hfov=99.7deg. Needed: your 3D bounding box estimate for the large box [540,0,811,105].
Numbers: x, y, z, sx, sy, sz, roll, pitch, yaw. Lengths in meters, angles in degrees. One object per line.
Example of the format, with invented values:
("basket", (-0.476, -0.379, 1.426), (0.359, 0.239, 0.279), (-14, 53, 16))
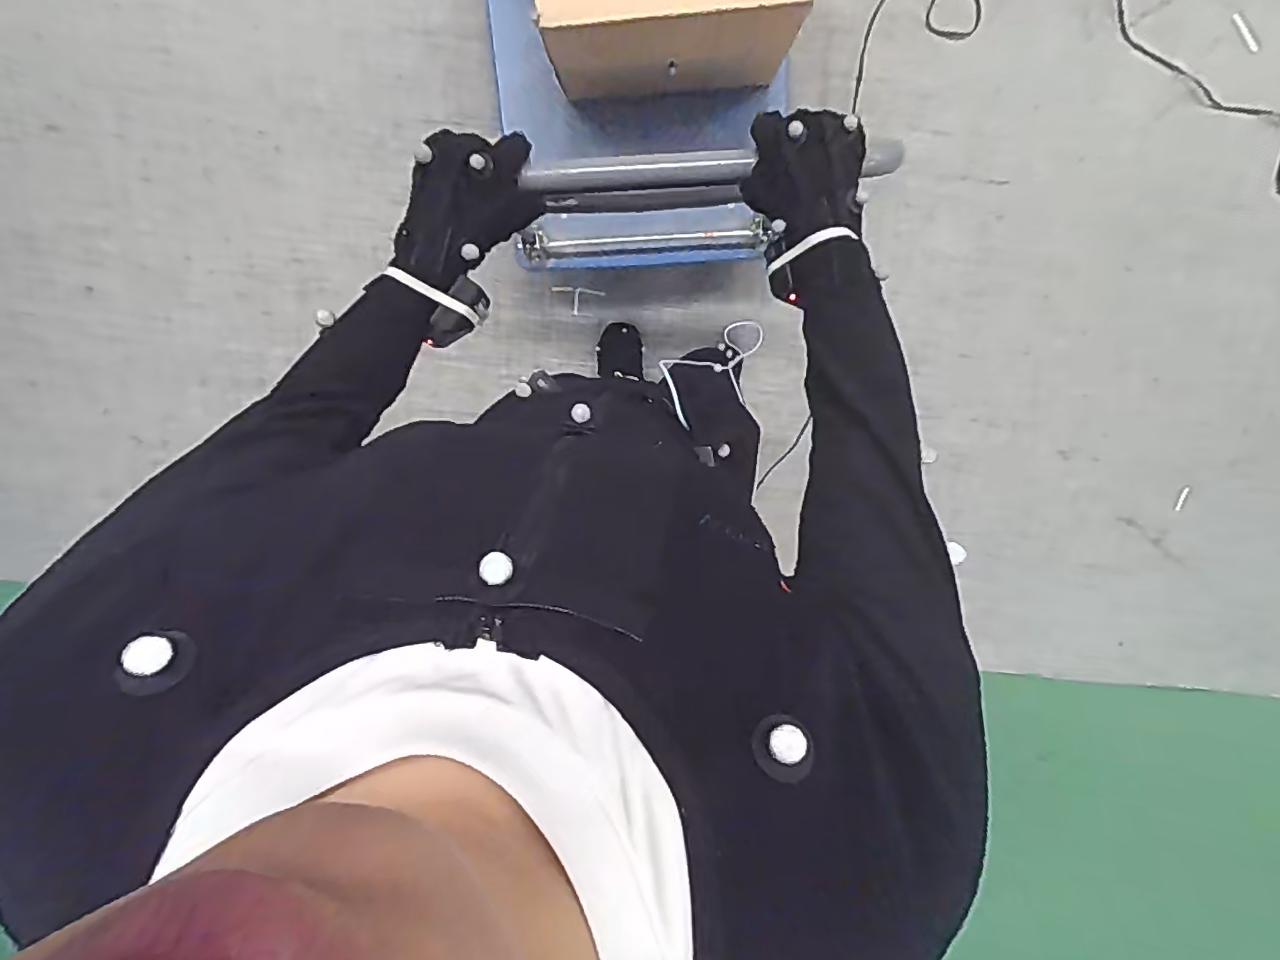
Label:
("large box", (0.048, -0.865, 0.897), (0.408, 0.320, 0.320), (-3, 107, 3))
